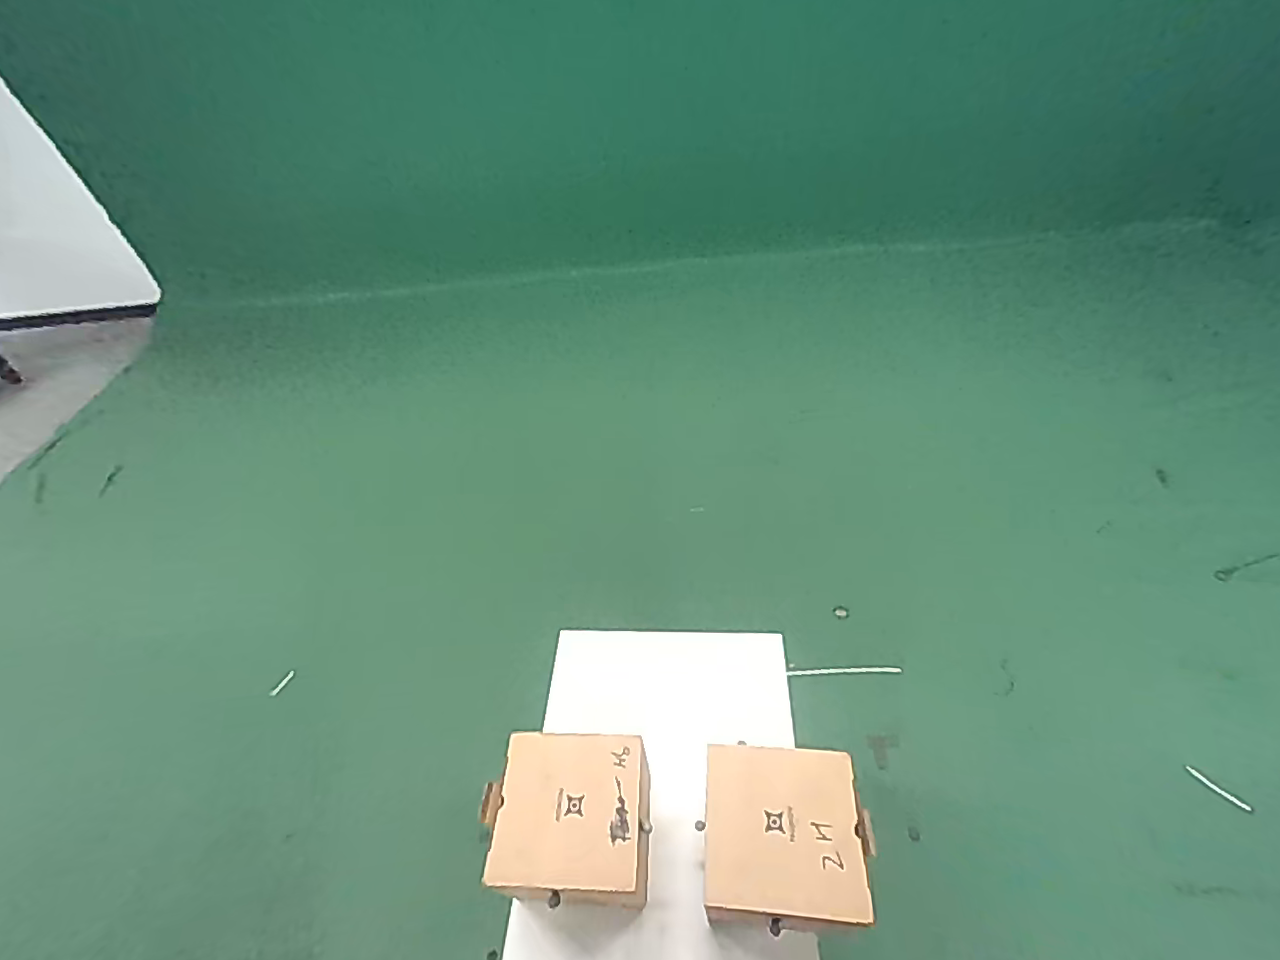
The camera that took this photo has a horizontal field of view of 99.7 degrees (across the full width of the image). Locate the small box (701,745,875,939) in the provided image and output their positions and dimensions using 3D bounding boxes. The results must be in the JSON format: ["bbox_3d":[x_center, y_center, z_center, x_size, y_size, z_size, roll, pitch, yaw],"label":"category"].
[{"bbox_3d":[0.168,0.443,0.661,0.179,0.176,0.168,0,48,9],"label":"small box"}]
